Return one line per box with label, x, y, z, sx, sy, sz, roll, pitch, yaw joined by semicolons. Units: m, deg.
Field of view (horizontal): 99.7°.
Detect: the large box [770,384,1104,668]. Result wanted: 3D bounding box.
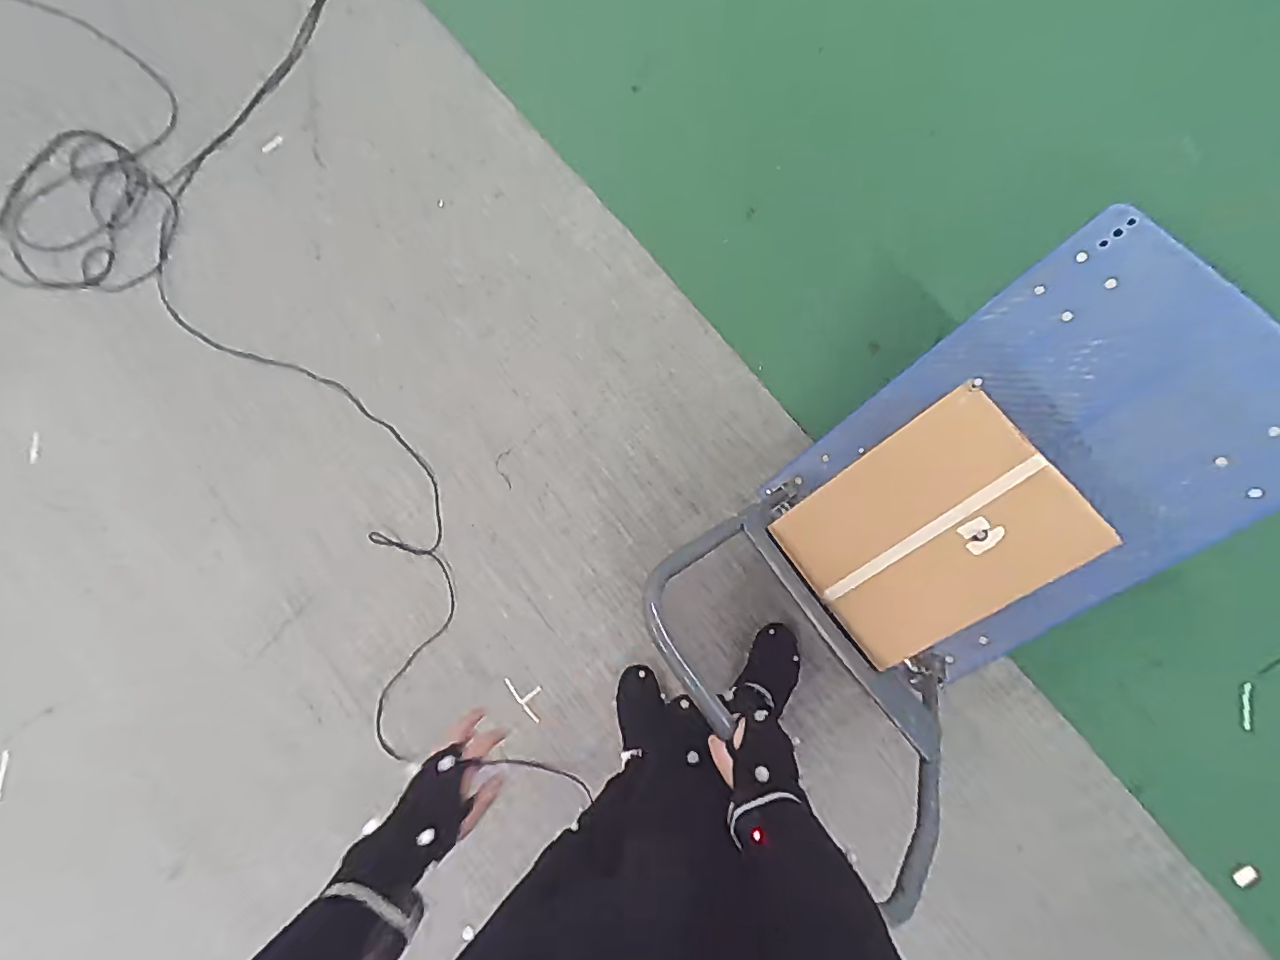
large box;0.523;0.081;1.030;0.408;0.320;0.320;-41;77;22
